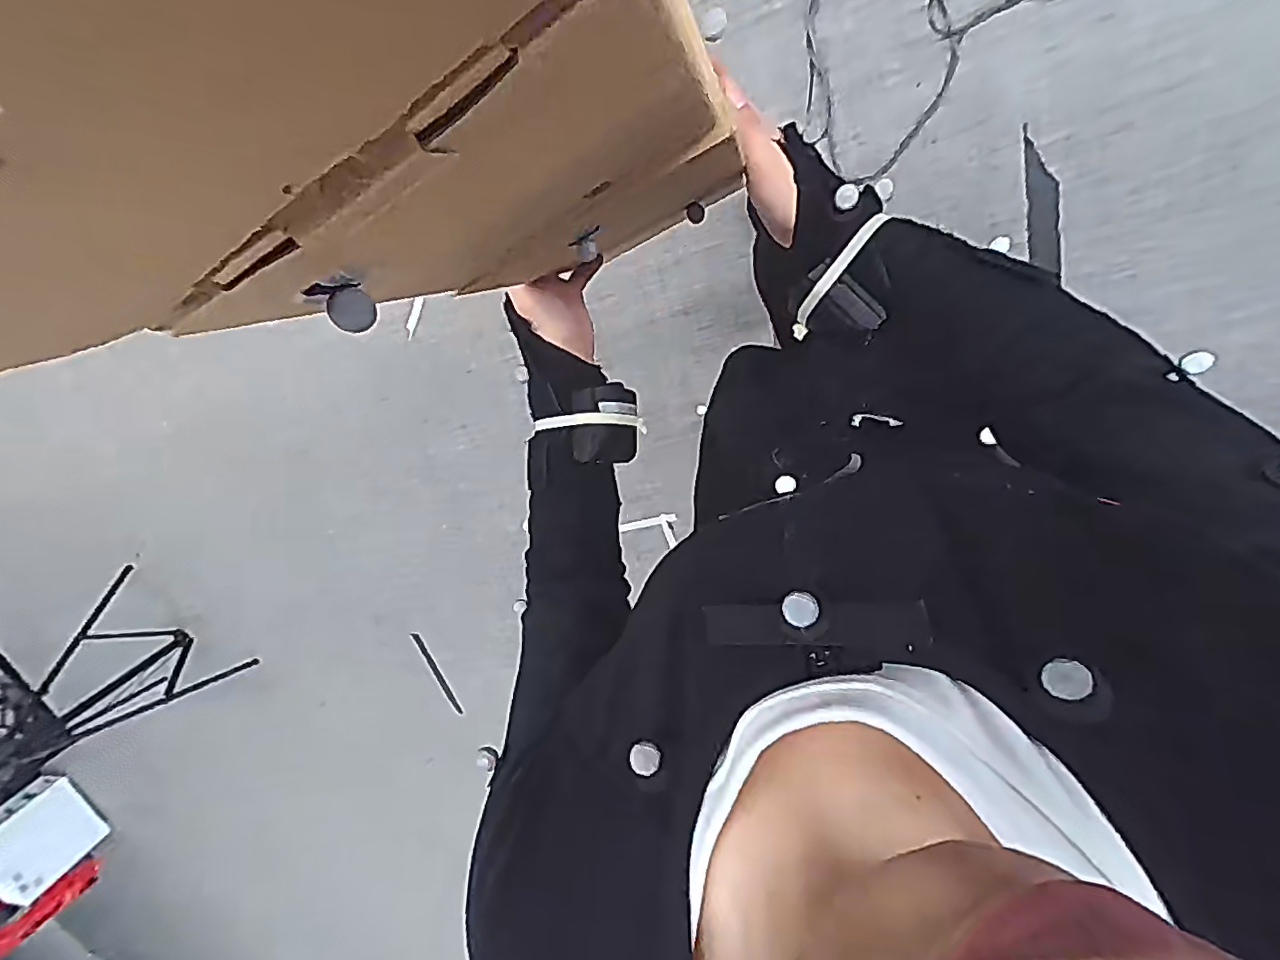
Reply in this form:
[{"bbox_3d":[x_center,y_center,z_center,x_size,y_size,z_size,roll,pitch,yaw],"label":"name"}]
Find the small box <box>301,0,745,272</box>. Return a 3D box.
[{"bbox_3d":[-0.047,-0.240,0.319,0.179,0.176,0.168,-20,108,20],"label":"small box"}]
